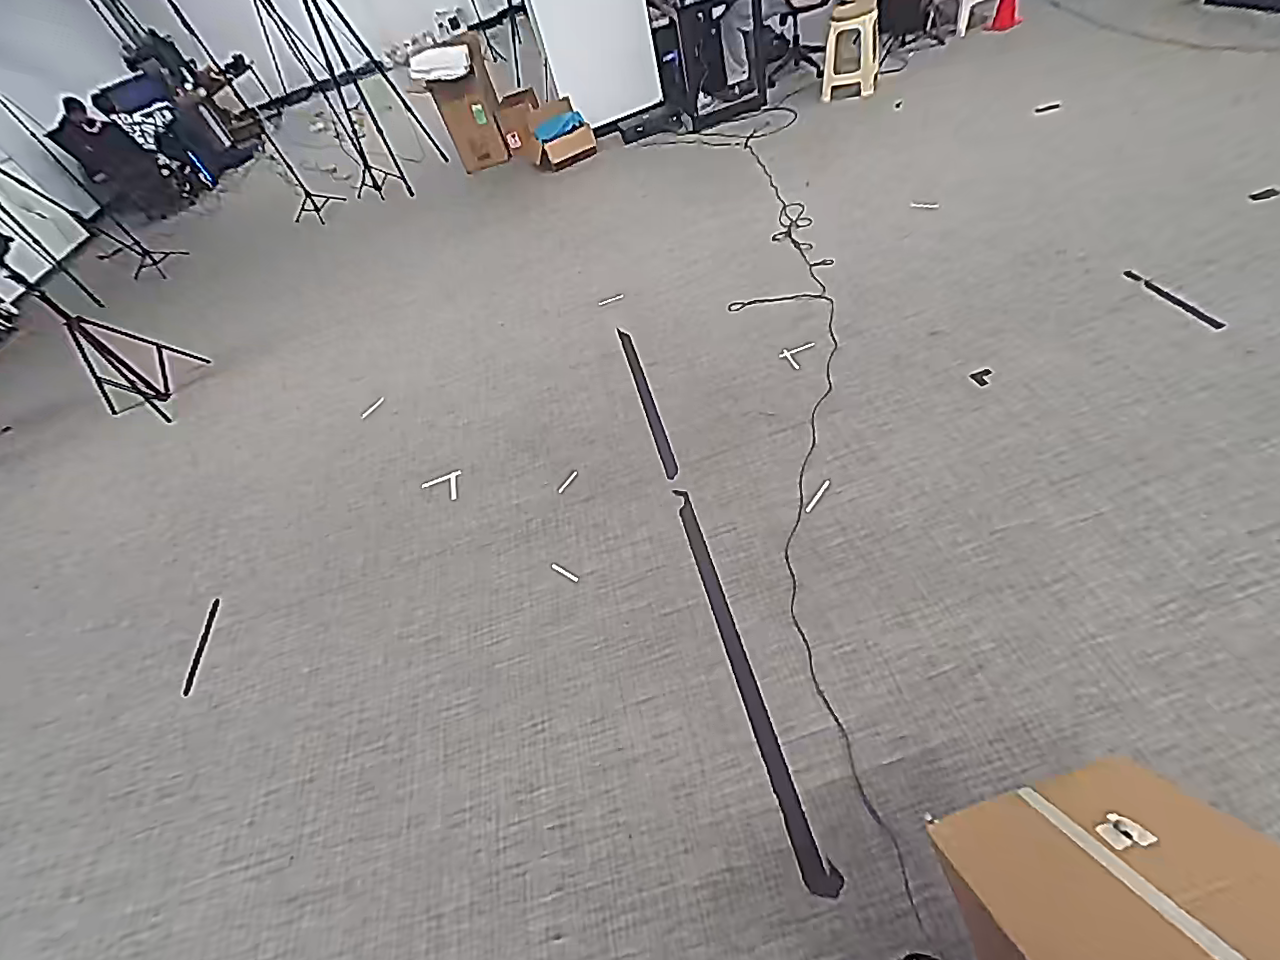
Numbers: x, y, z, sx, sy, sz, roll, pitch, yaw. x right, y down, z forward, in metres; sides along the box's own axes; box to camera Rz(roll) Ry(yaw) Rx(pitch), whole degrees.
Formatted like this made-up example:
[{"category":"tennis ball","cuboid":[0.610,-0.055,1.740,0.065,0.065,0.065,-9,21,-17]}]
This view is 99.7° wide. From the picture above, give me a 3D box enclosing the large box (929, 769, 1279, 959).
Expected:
[{"category":"large box","cuboid":[0.628,0.619,0.614,0.320,0.408,0.320,-20,86,2]}]
